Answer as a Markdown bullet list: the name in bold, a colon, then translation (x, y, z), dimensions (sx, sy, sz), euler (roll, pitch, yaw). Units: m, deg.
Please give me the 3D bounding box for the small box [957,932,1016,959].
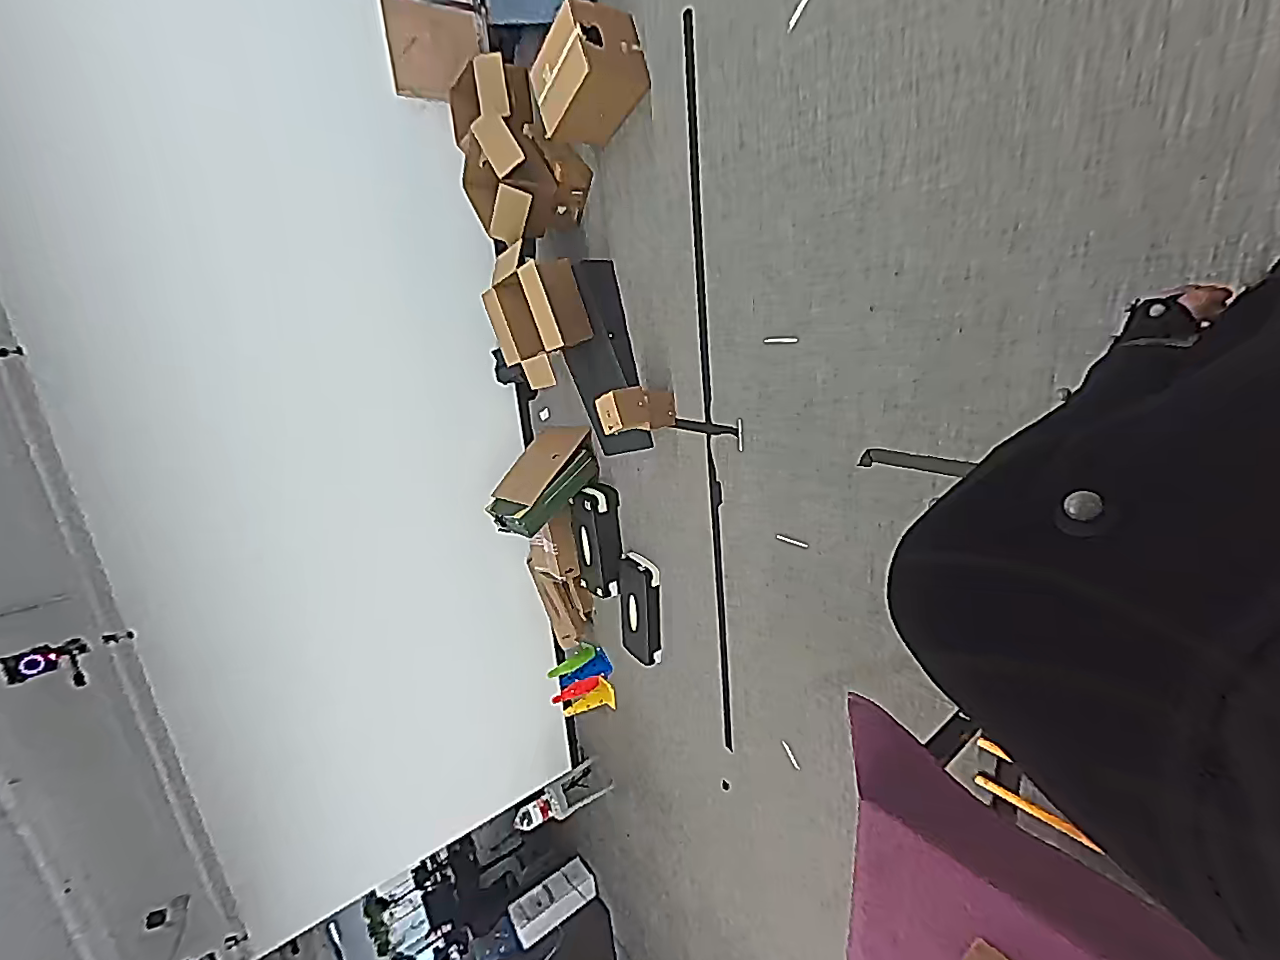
- **small box**: translation (0.670, 1.014, 1.006), dimensions (0.168, 0.176, 0.179), euler (17, 118, 51)
